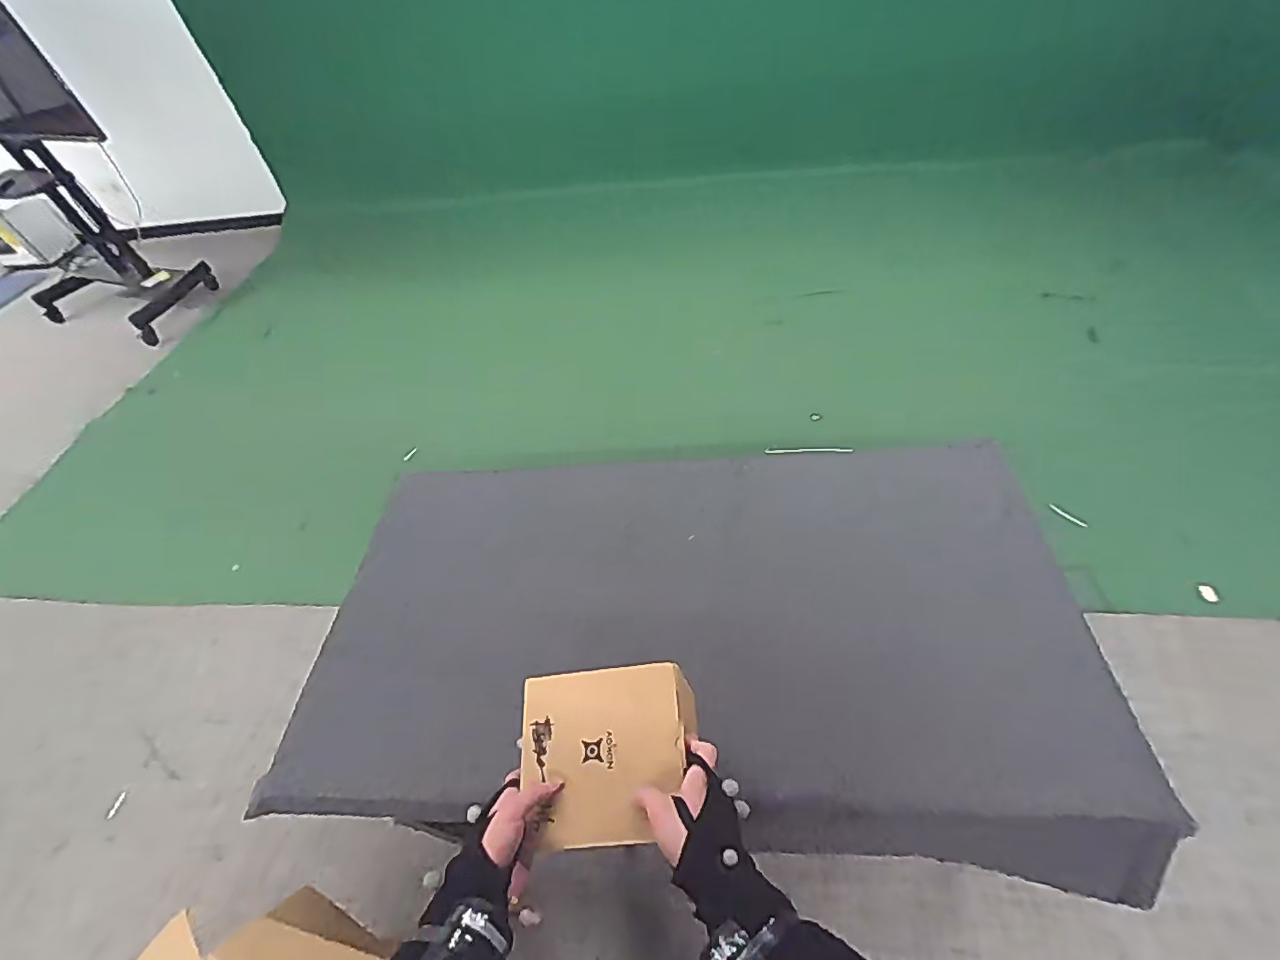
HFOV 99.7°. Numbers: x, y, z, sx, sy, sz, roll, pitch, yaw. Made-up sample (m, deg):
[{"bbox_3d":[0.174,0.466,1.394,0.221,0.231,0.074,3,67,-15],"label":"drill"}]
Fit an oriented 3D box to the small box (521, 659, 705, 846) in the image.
[{"bbox_3d":[-0.021,0.315,0.622,0.179,0.176,0.168,-8,57,7],"label":"small box"}]
